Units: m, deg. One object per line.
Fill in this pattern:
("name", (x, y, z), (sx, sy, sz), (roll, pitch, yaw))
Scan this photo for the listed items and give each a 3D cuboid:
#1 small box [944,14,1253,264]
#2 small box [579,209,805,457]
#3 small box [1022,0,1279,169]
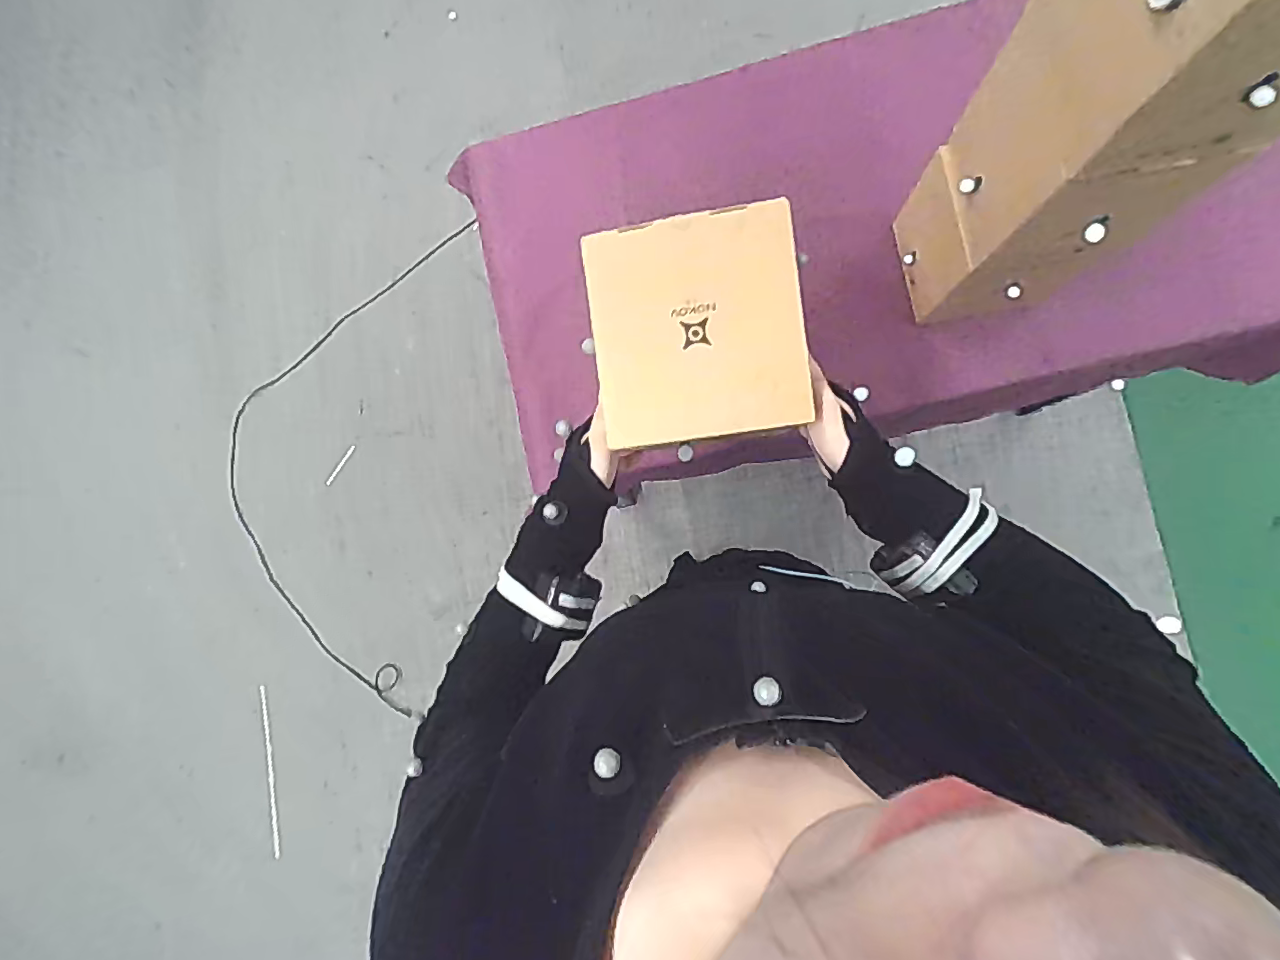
("small box", (0.445, -0.343, 0.559), (0.168, 0.176, 0.179), (-7, 83, 5))
("small box", (0.051, -0.116, 0.507), (0.168, 0.176, 0.179), (-7, 90, 8))
("small box", (0.425, -0.361, 0.395), (0.168, 0.176, 0.179), (-8, 82, 5))
